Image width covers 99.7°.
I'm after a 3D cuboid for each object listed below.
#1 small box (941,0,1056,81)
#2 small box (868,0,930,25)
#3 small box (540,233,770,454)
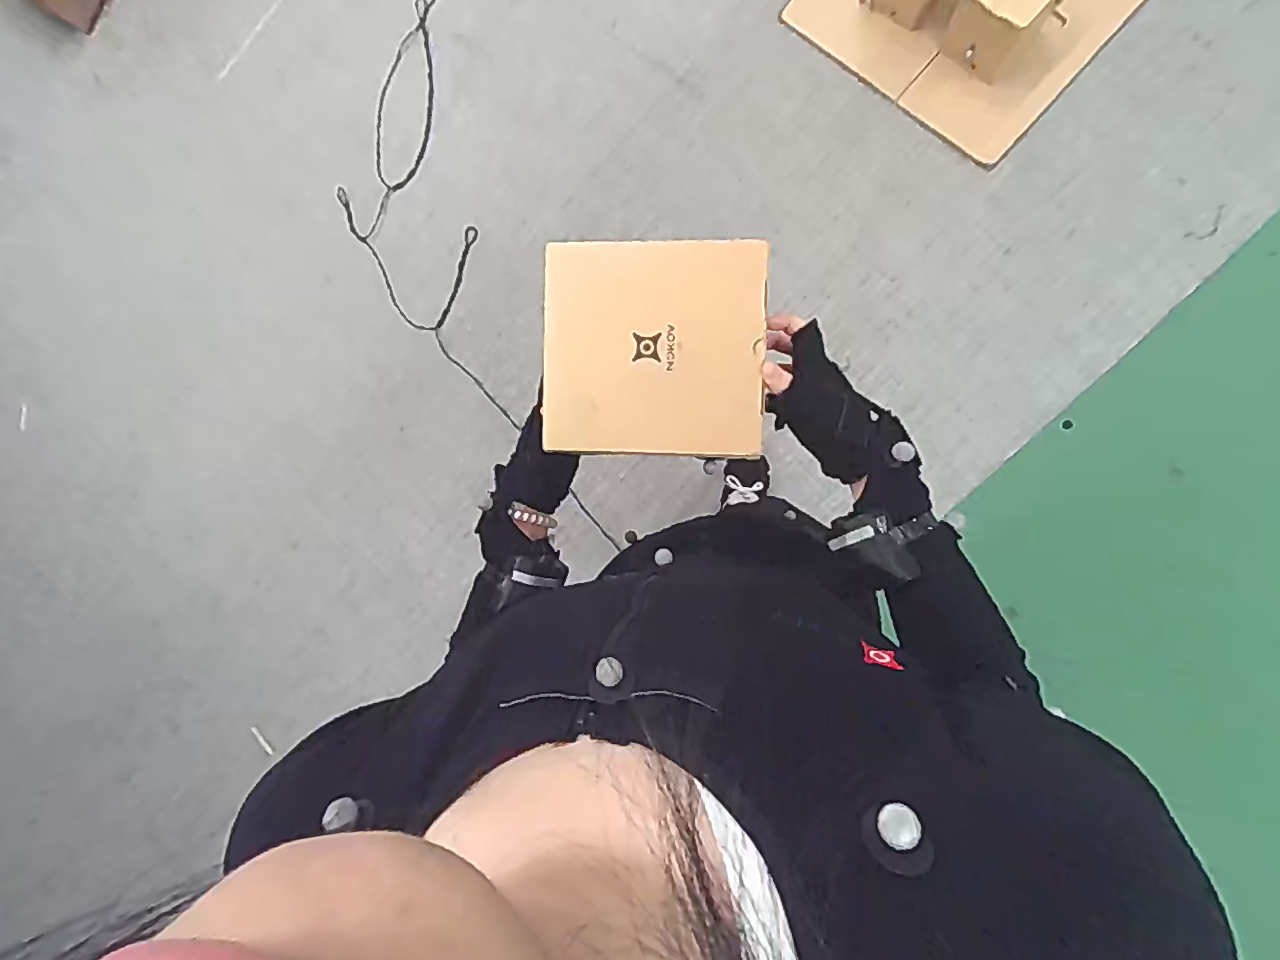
[{"bbox_3d":[0.854,-1.108,1.272,0.168,0.176,0.179,43,97,9],"label":"small box"},{"bbox_3d":[0.664,-1.268,1.305,0.168,0.176,0.179,38,95,8],"label":"small box"},{"bbox_3d":[0.017,-0.110,0.498,0.179,0.176,0.168,2,93,5],"label":"small box"}]
